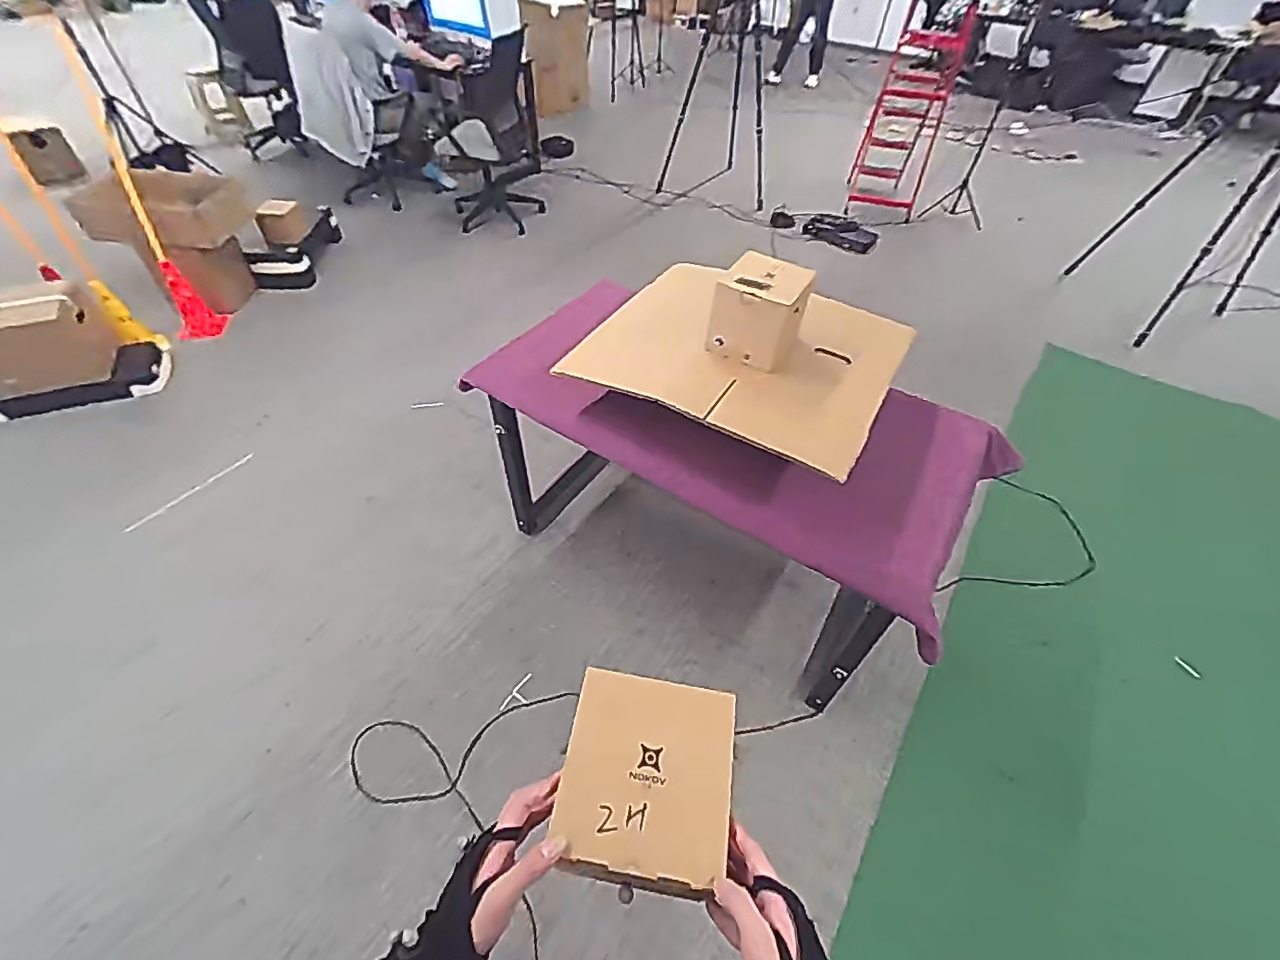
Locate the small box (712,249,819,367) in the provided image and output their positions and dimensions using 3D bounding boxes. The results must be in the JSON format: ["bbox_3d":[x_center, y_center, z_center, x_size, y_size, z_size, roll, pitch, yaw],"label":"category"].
[{"bbox_3d":[0.272,-0.380,1.201,0.168,0.176,0.179,26,52,17],"label":"small box"}]
